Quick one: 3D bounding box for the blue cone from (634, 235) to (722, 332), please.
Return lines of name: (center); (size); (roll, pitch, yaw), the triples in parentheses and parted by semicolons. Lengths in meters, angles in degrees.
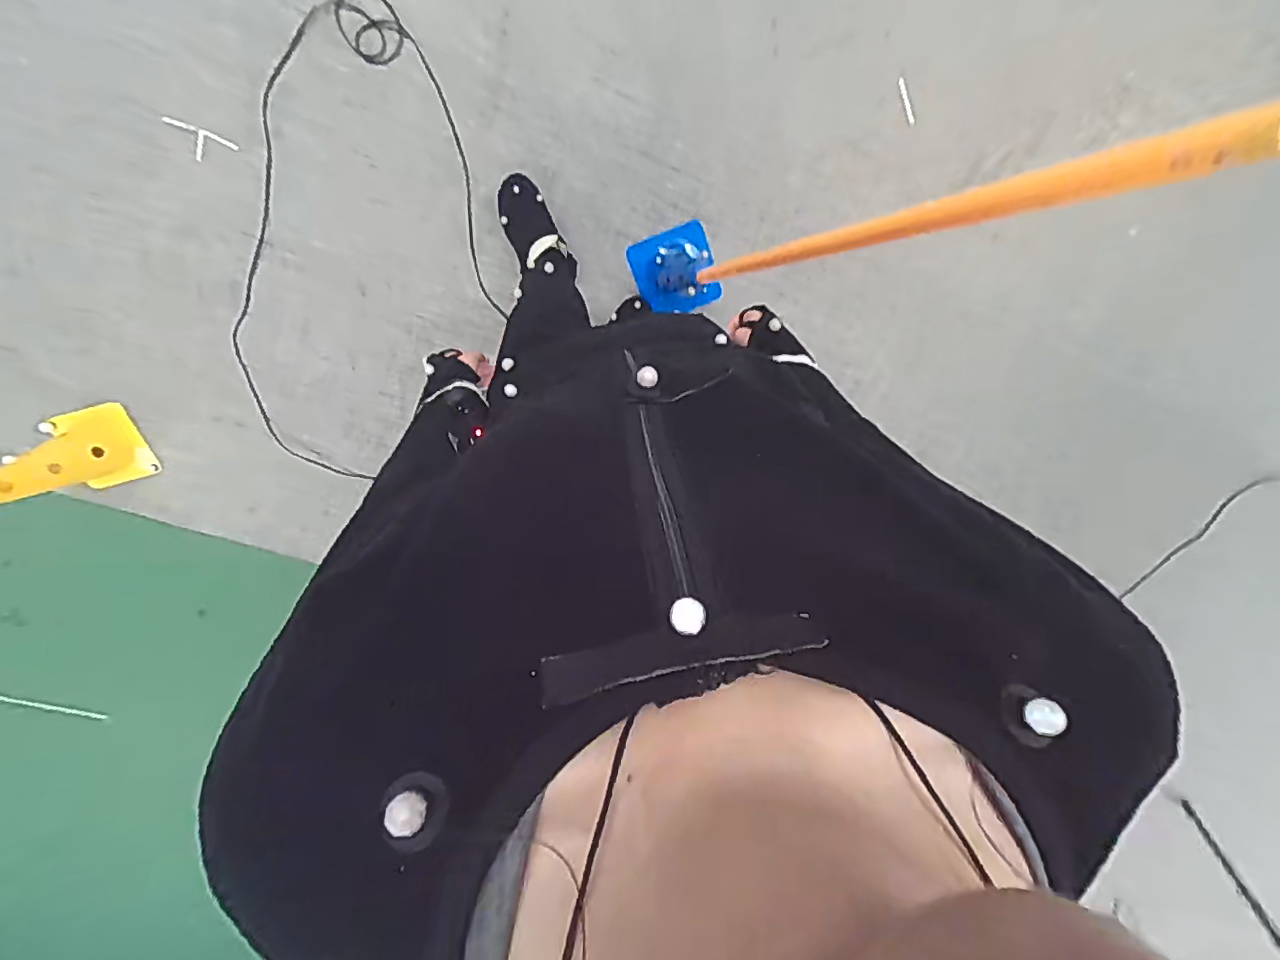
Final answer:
blue cone: (0.109, -0.424, 1.179); (0.193, 0.380, 0.192); (-23, 112, 3)
